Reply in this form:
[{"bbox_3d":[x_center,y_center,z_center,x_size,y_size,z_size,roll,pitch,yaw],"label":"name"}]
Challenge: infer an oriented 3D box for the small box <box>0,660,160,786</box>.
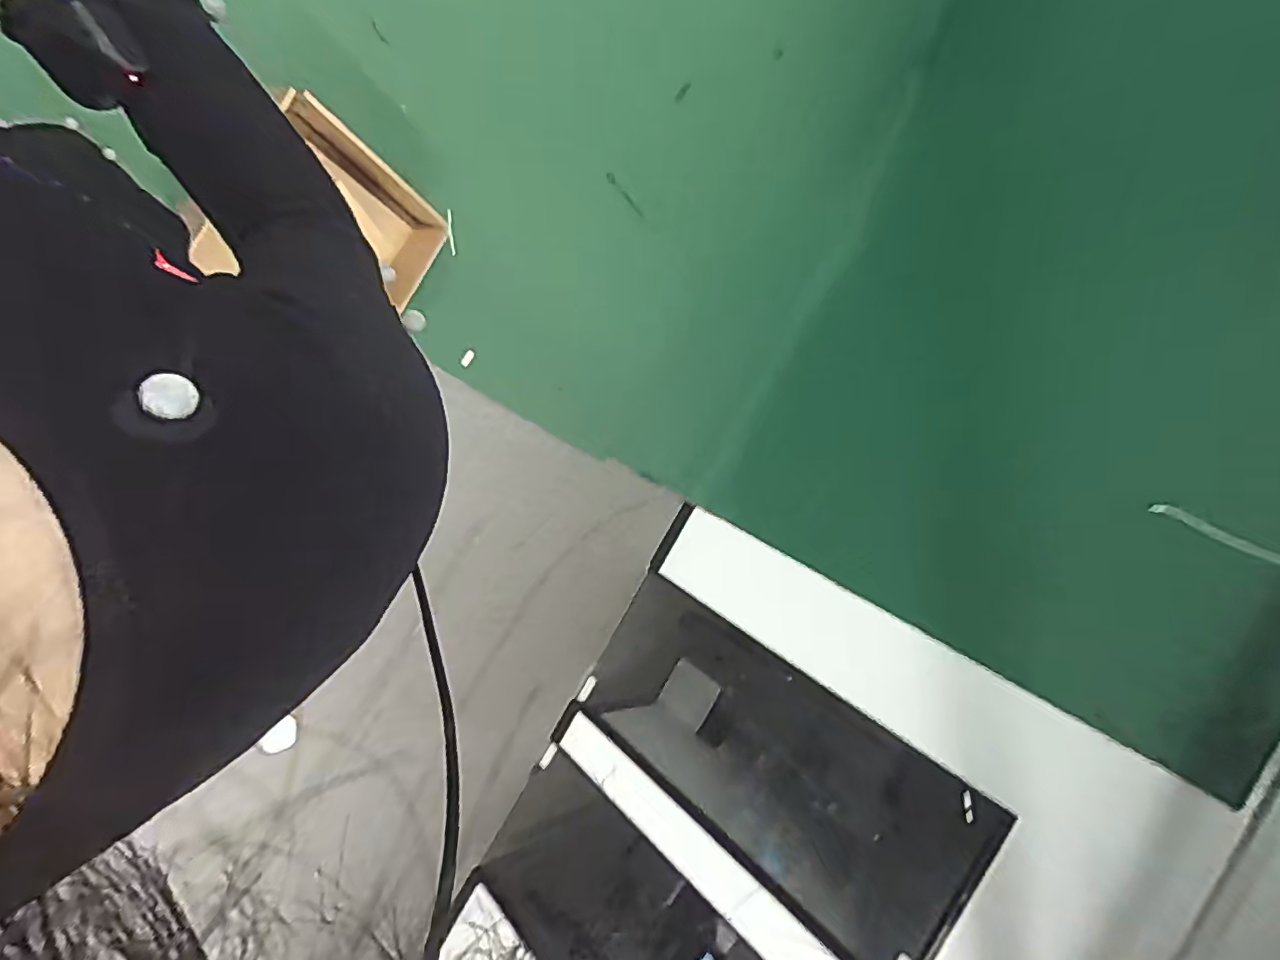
[{"bbox_3d":[-1.155,0.493,1.109,0.168,0.176,0.179,-52,147,-7],"label":"small box"}]
